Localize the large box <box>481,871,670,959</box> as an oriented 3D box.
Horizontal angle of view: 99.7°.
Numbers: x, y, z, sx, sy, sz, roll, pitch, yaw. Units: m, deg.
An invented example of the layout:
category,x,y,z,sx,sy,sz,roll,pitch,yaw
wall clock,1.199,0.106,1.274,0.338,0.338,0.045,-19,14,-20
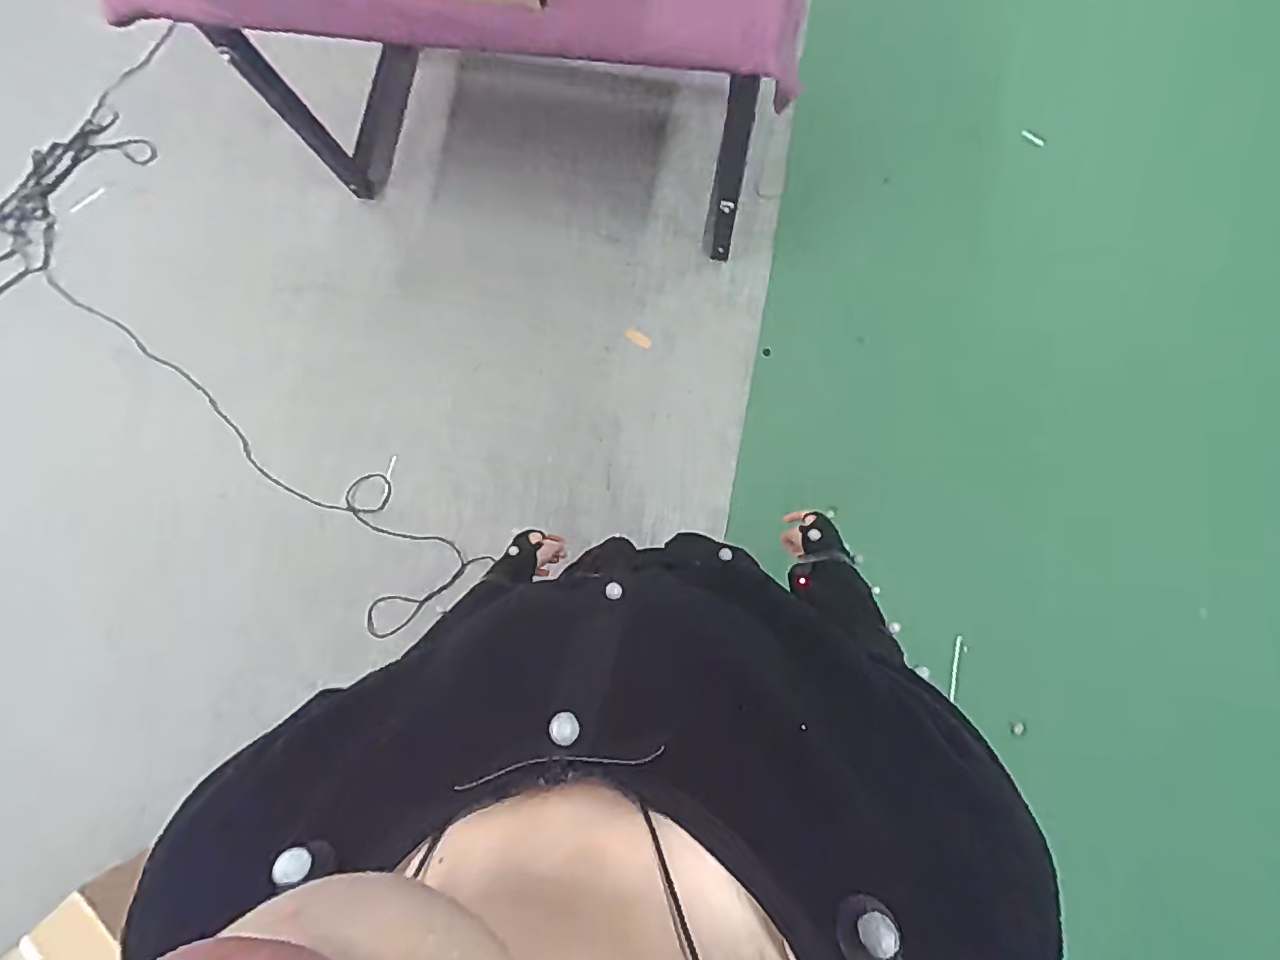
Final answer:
category,x,y,z,sx,sy,sz,roll,pitch,yaw
large box,-0.131,1.178,1.273,0.408,0.320,0.320,-4,84,2
